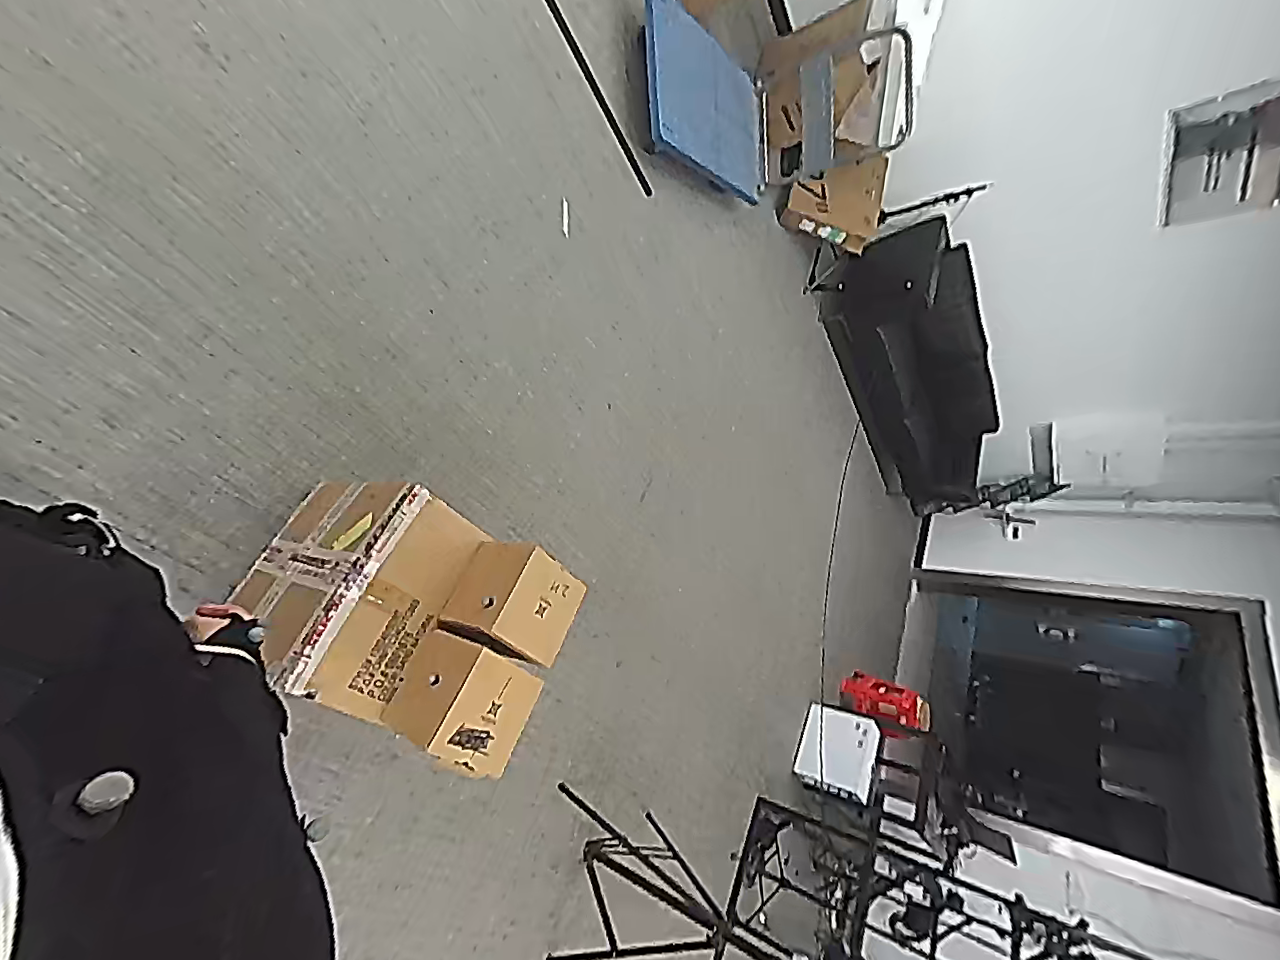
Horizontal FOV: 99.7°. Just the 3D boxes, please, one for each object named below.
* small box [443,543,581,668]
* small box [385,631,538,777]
[{"bbox_3d":[-0.253,0.239,1.055,0.168,0.176,0.179,51,51,-37],"label":"small box"},{"bbox_3d":[-0.324,0.394,0.970,0.168,0.176,0.179,49,55,-37],"label":"small box"}]
